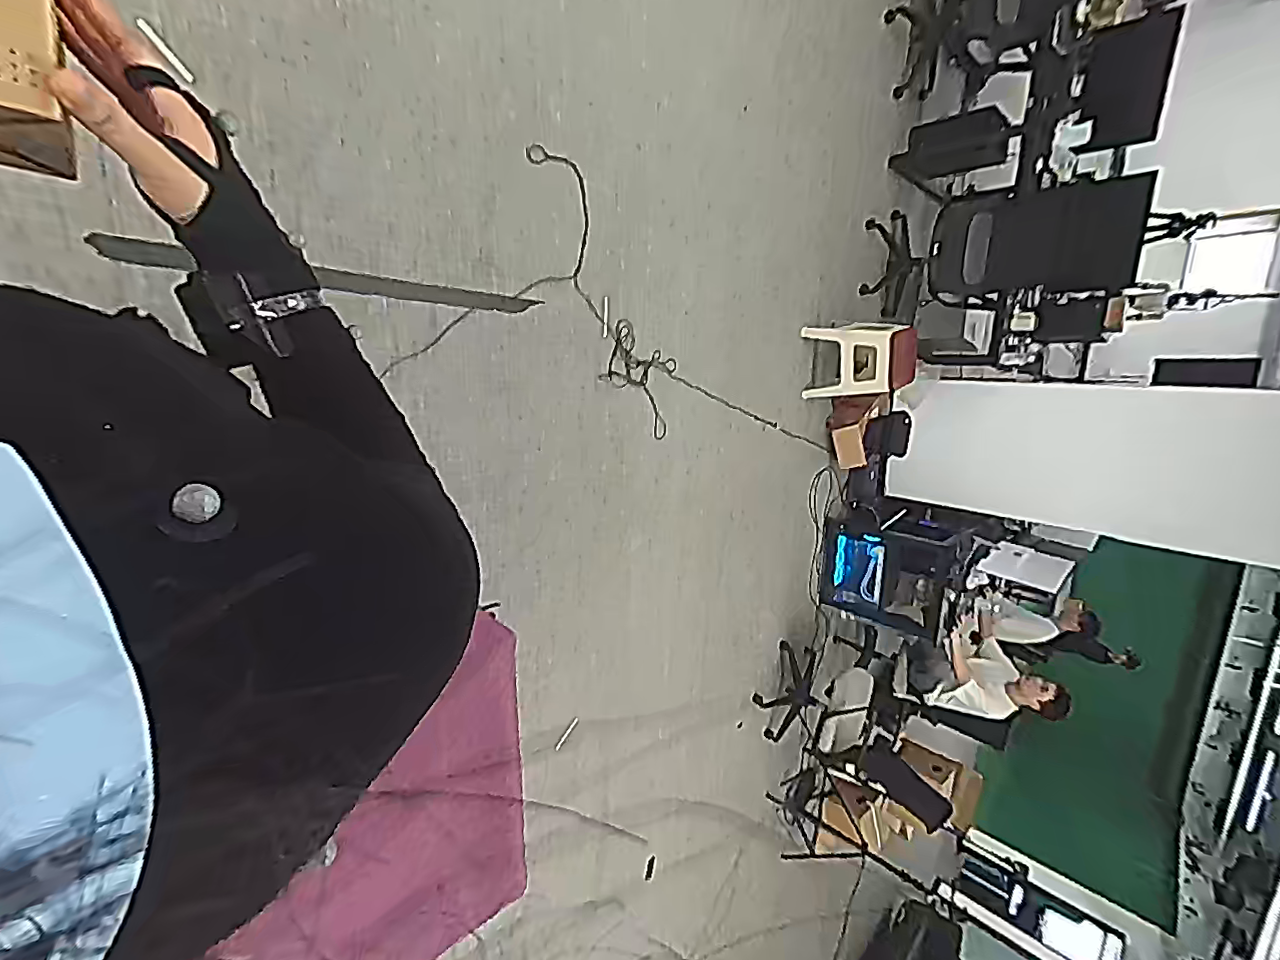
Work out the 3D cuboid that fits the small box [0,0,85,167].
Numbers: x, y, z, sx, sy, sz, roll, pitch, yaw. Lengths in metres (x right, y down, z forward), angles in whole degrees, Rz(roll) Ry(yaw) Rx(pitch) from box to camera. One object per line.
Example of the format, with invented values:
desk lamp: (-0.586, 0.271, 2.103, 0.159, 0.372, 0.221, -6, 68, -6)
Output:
small box: (-0.414, -0.287, 0.281, 0.168, 0.179, 0.176, -4, 105, -43)
